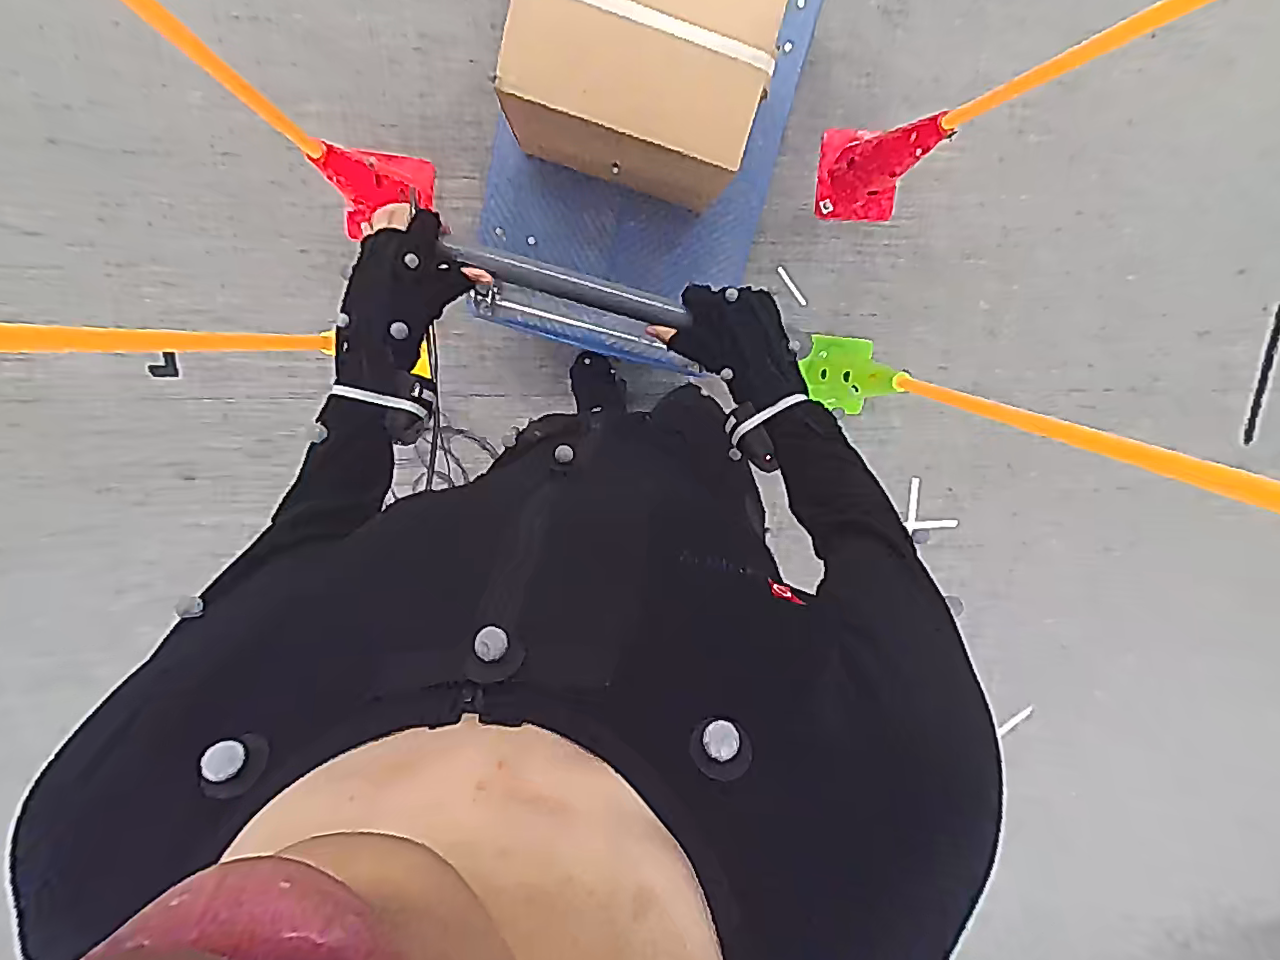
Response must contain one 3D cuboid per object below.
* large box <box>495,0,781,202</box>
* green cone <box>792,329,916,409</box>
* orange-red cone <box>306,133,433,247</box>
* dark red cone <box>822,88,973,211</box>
[{"bbox_3d":[-0.003,-0.741,0.967,0.408,0.320,0.320,15,103,-7],"label":"large box"},{"bbox_3d":[0.527,-0.252,1.280,0.202,0.368,0.200,3,104,-6],"label":"green cone"},{"bbox_3d":[-0.577,-0.627,1.106,0.198,0.360,0.199,6,102,-7],"label":"orange-red cone"},{"bbox_3d":[0.553,-0.717,1.144,0.201,0.394,0.202,-1,105,-6],"label":"dark red cone"}]
